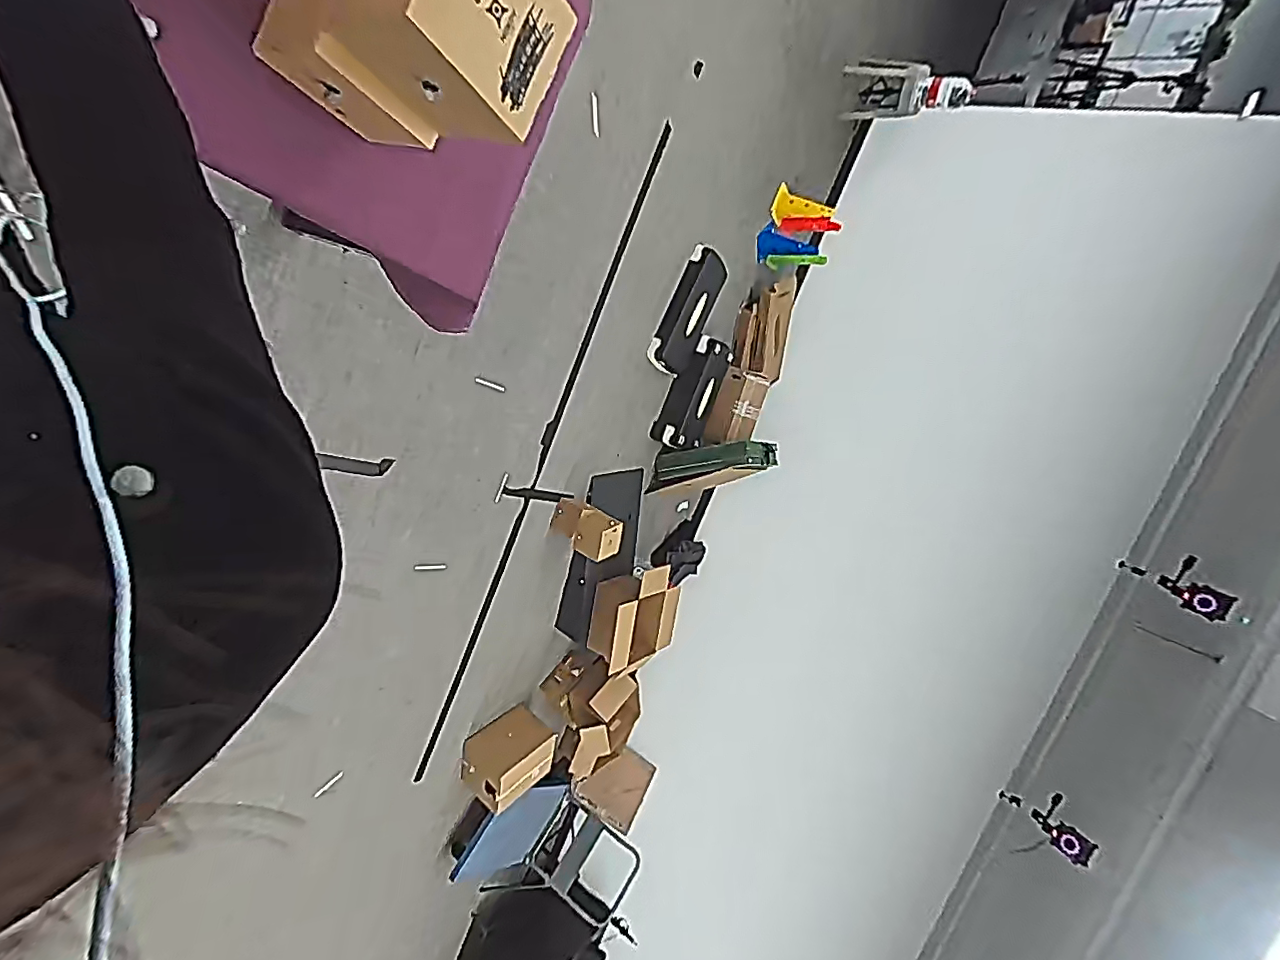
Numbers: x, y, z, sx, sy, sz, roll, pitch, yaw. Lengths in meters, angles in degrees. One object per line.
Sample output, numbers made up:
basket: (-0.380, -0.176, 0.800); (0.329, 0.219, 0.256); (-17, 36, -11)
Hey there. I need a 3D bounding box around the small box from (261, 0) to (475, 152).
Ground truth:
small box: (-0.359, -0.570, 0.710); (0.168, 0.176, 0.179); (18, 96, -60)
